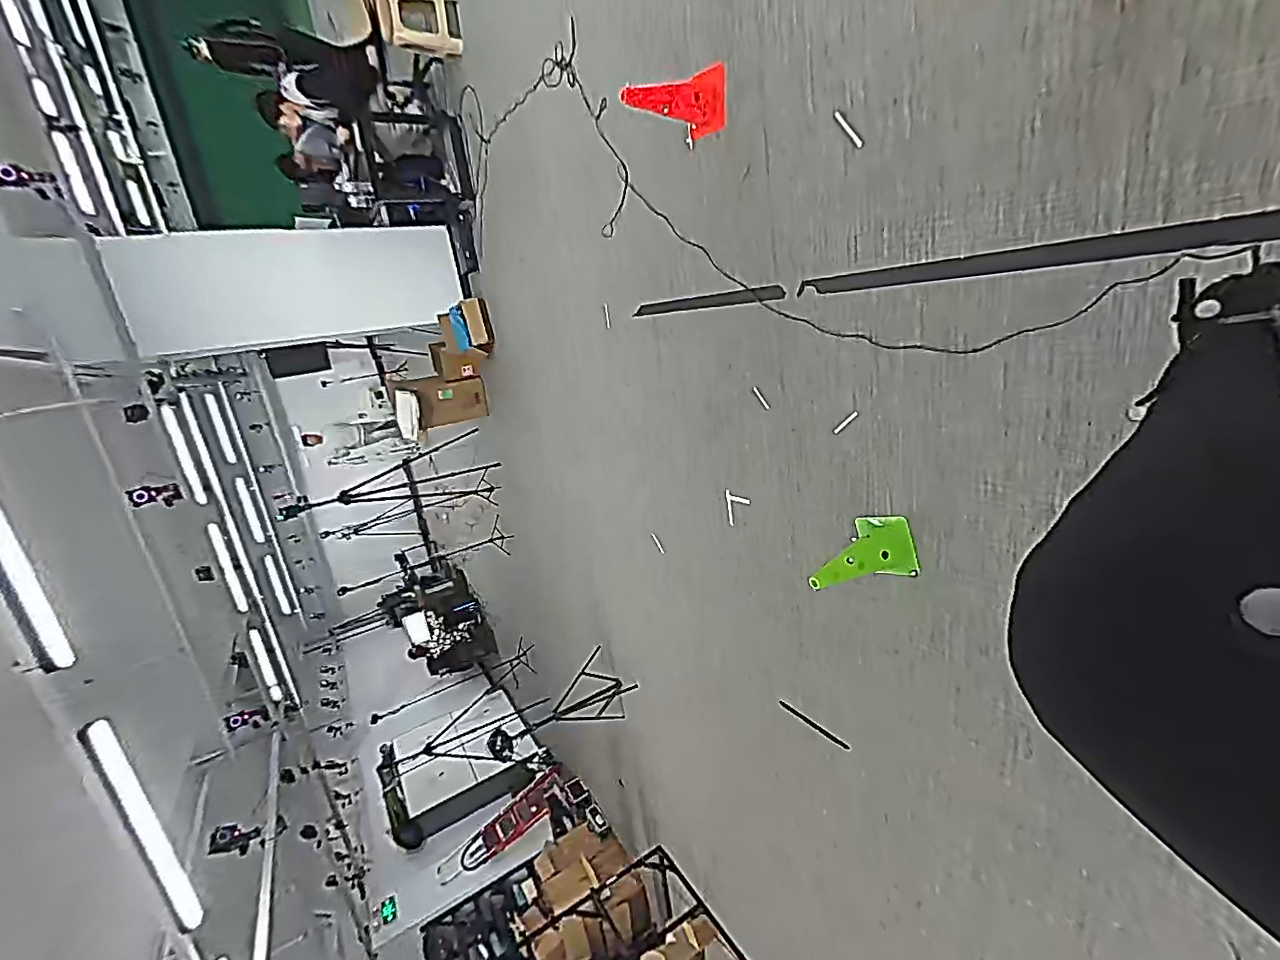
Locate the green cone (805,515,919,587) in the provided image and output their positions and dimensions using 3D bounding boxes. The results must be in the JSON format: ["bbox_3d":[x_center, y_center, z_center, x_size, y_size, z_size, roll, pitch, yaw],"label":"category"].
[{"bbox_3d":[0.670,0.255,1.713,0.202,0.368,0.200,-11,95,63],"label":"green cone"}]

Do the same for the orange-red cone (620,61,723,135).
[{"bbox_3d":[0.091,-1.324,1.867,0.199,0.360,0.198,28,130,52],"label":"orange-red cone"}]
